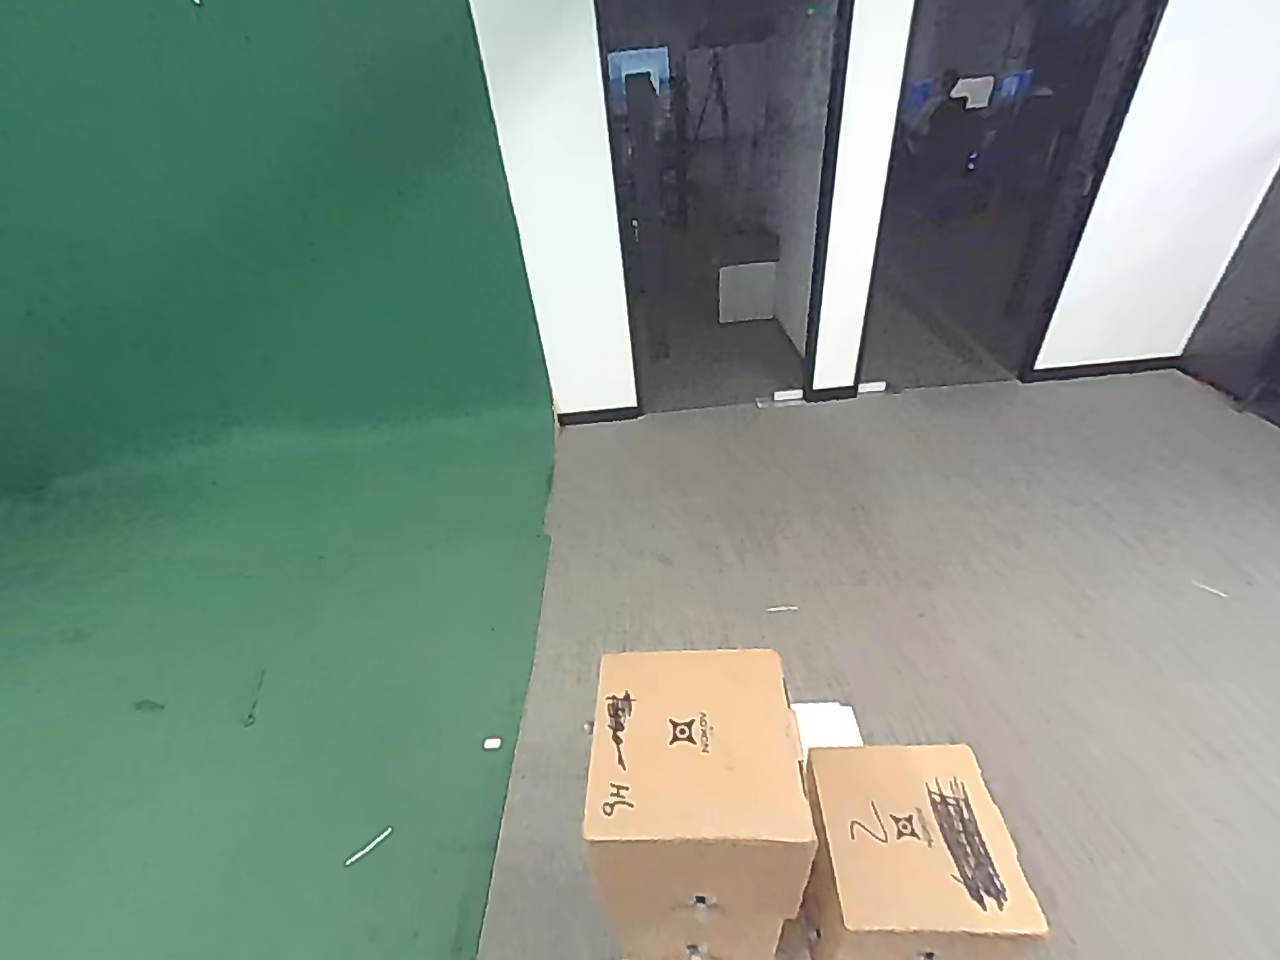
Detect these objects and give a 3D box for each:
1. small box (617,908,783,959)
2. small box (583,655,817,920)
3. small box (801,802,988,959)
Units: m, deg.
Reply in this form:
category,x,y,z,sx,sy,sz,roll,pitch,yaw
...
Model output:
category,x,y,z,sx,sy,sz,roll,pitch,yaw
small box,0.061,0.413,0.614,0.168,0.176,0.179,-3,36,5
small box,0.052,0.286,0.510,0.179,0.176,0.168,-2,36,5
small box,0.302,0.538,0.685,0.168,0.176,0.179,-4,37,6
